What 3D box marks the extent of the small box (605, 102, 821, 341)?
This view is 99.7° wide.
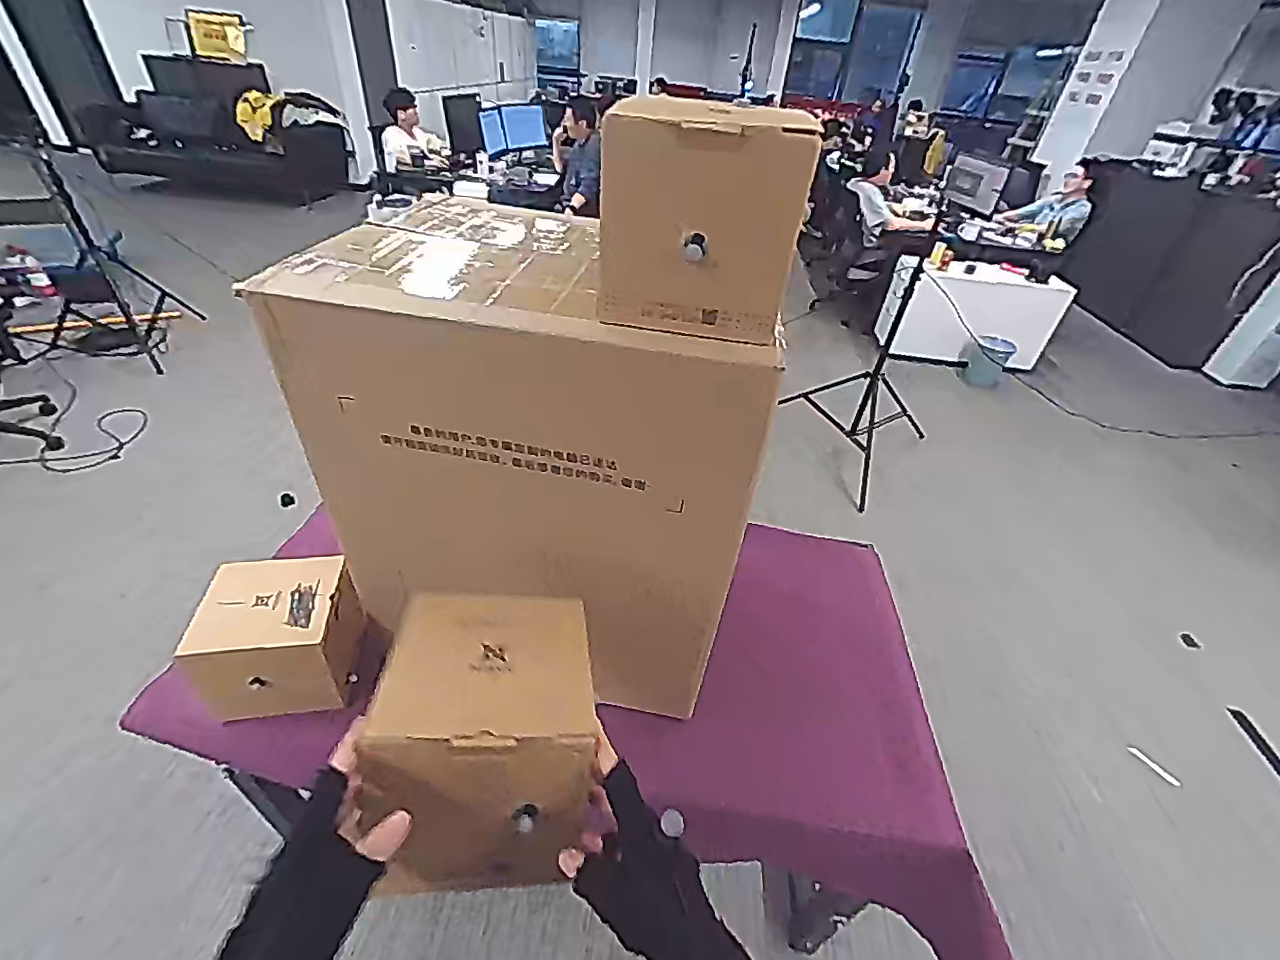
[{"bbox_3d":[0.064,-0.250,0.520,0.168,0.176,0.179,9,40,5],"label":"small box"}]
